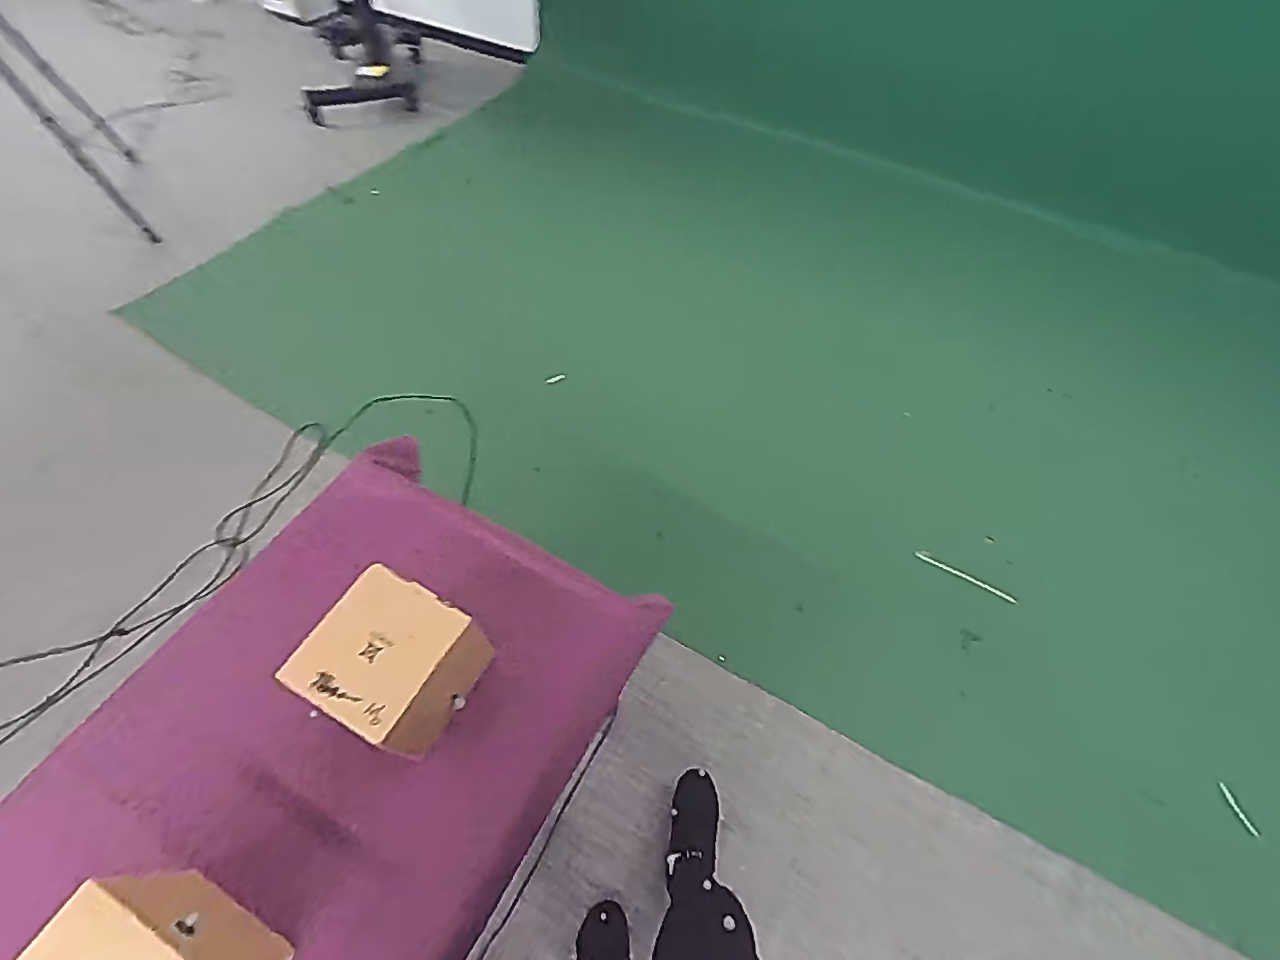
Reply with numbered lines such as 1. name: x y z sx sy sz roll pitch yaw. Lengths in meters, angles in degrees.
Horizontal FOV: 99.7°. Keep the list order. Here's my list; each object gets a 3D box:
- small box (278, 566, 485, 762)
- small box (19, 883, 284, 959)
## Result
1. small box: -0.335 0.257 0.745 0.168 0.176 0.179 25 58 14
2. small box: -0.517 0.541 0.547 0.179 0.176 0.168 23 58 13
